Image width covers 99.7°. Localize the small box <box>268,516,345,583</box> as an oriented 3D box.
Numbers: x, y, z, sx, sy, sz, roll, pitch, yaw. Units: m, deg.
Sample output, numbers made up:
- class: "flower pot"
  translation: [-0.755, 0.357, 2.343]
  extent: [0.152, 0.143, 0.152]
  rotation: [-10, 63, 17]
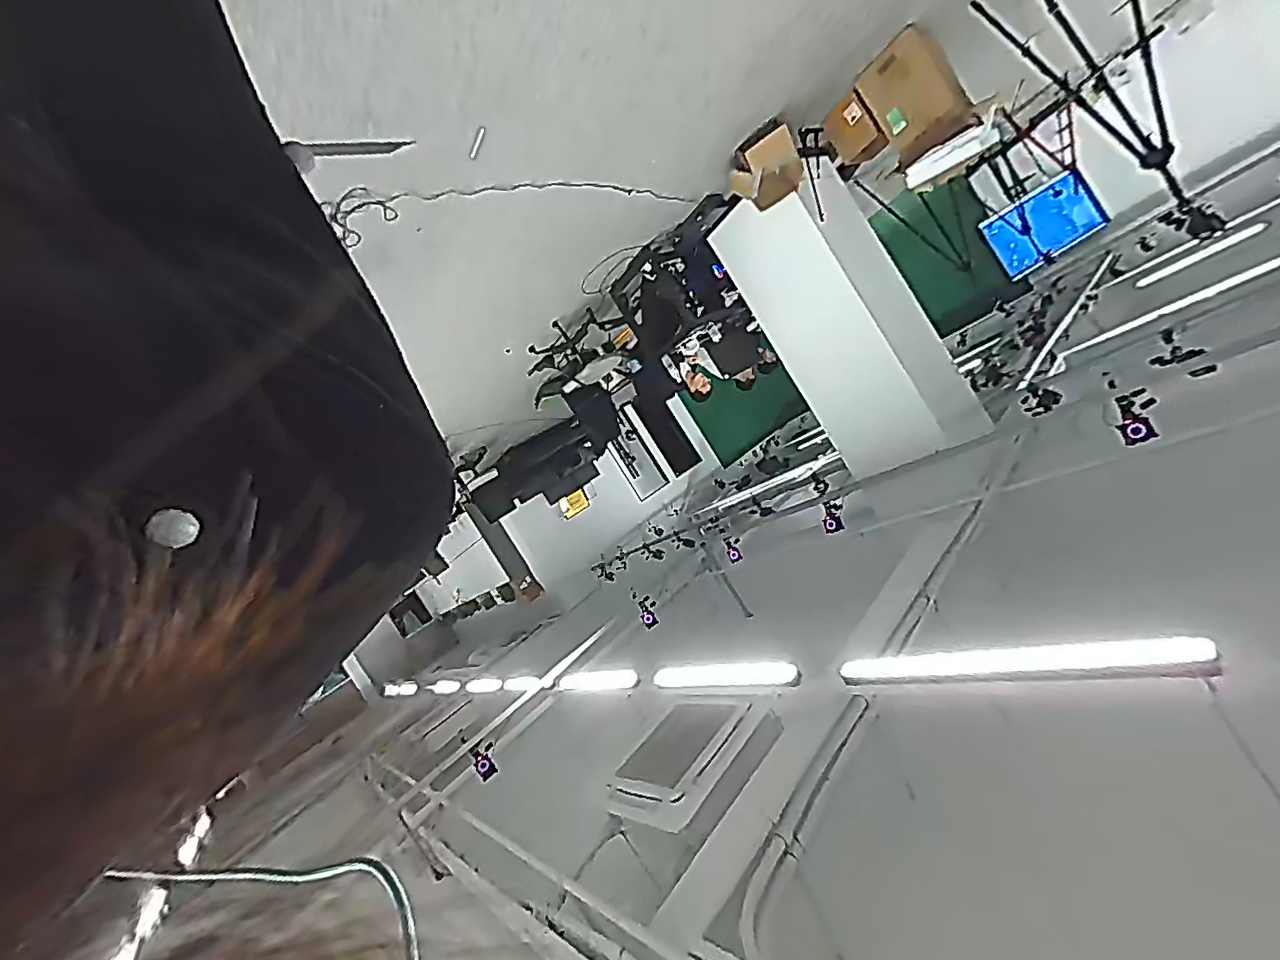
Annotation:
- class: "small box"
  translation: [-1.278, 0.261, 2.070]
  extent: [0.168, 0.176, 0.179]
  rotation: [-32, -179, 44]
